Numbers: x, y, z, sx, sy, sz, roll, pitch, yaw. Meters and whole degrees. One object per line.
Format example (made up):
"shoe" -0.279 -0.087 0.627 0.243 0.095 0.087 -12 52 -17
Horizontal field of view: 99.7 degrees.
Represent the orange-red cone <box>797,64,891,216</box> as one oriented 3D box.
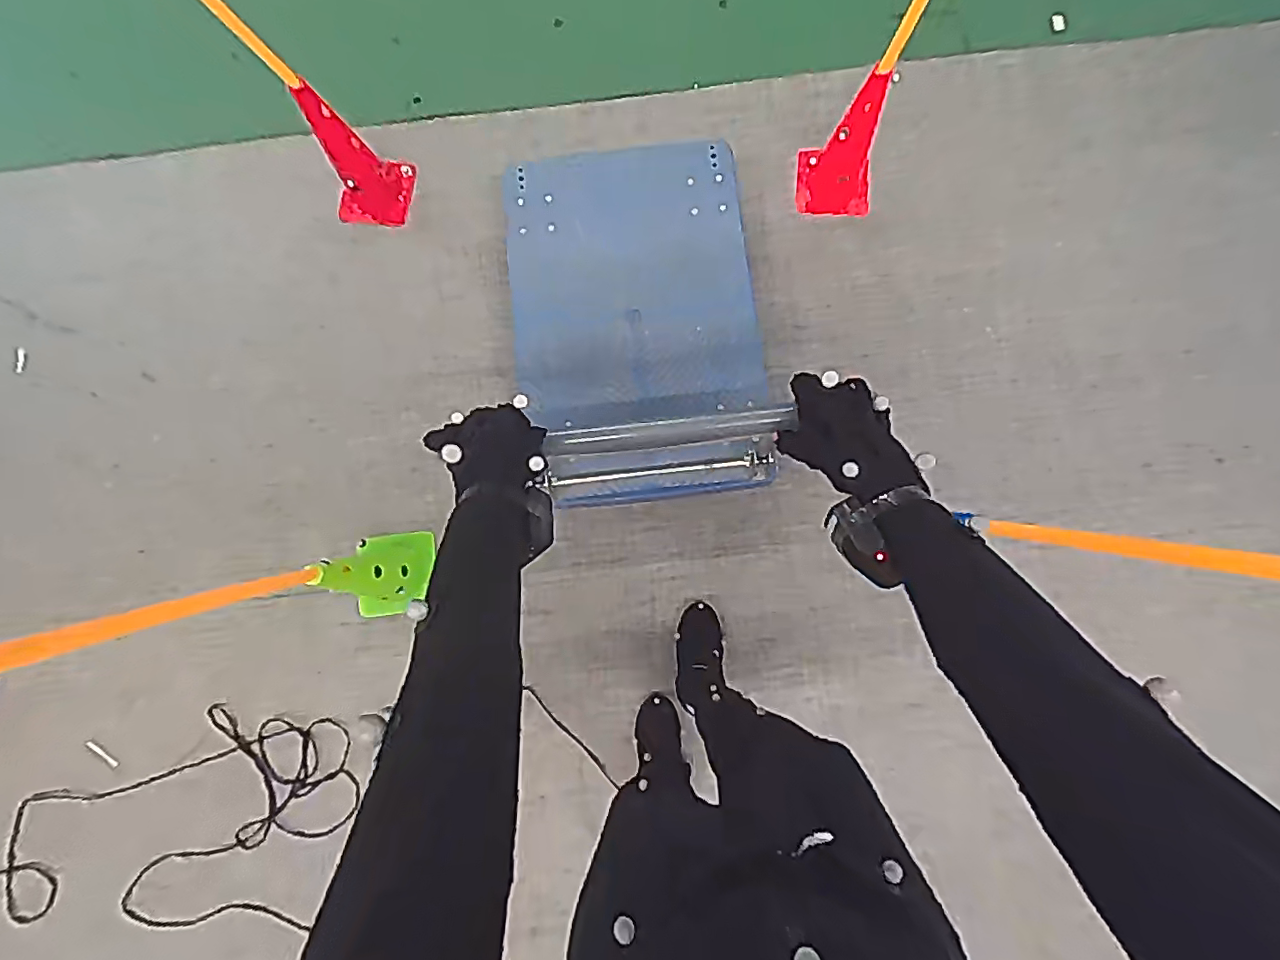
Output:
"orange-red cone" 0.536 -0.856 1.344 0.198 0.360 0.199 5 82 3
